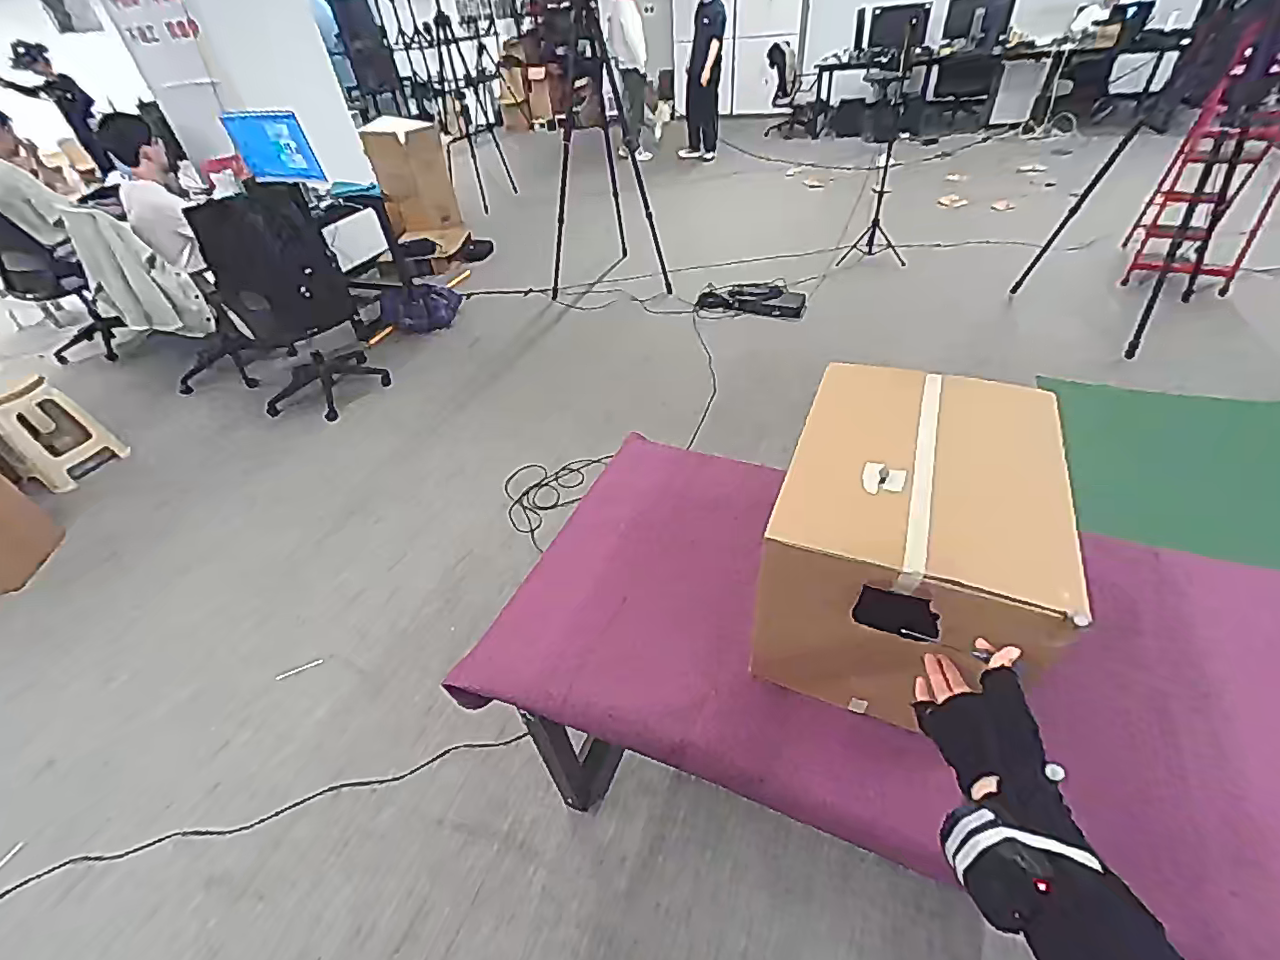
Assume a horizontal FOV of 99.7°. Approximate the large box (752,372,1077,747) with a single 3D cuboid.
[{"bbox_3d":[0.375,0.094,0.805,0.320,0.320,0.408,14,46,21],"label":"large box"}]
